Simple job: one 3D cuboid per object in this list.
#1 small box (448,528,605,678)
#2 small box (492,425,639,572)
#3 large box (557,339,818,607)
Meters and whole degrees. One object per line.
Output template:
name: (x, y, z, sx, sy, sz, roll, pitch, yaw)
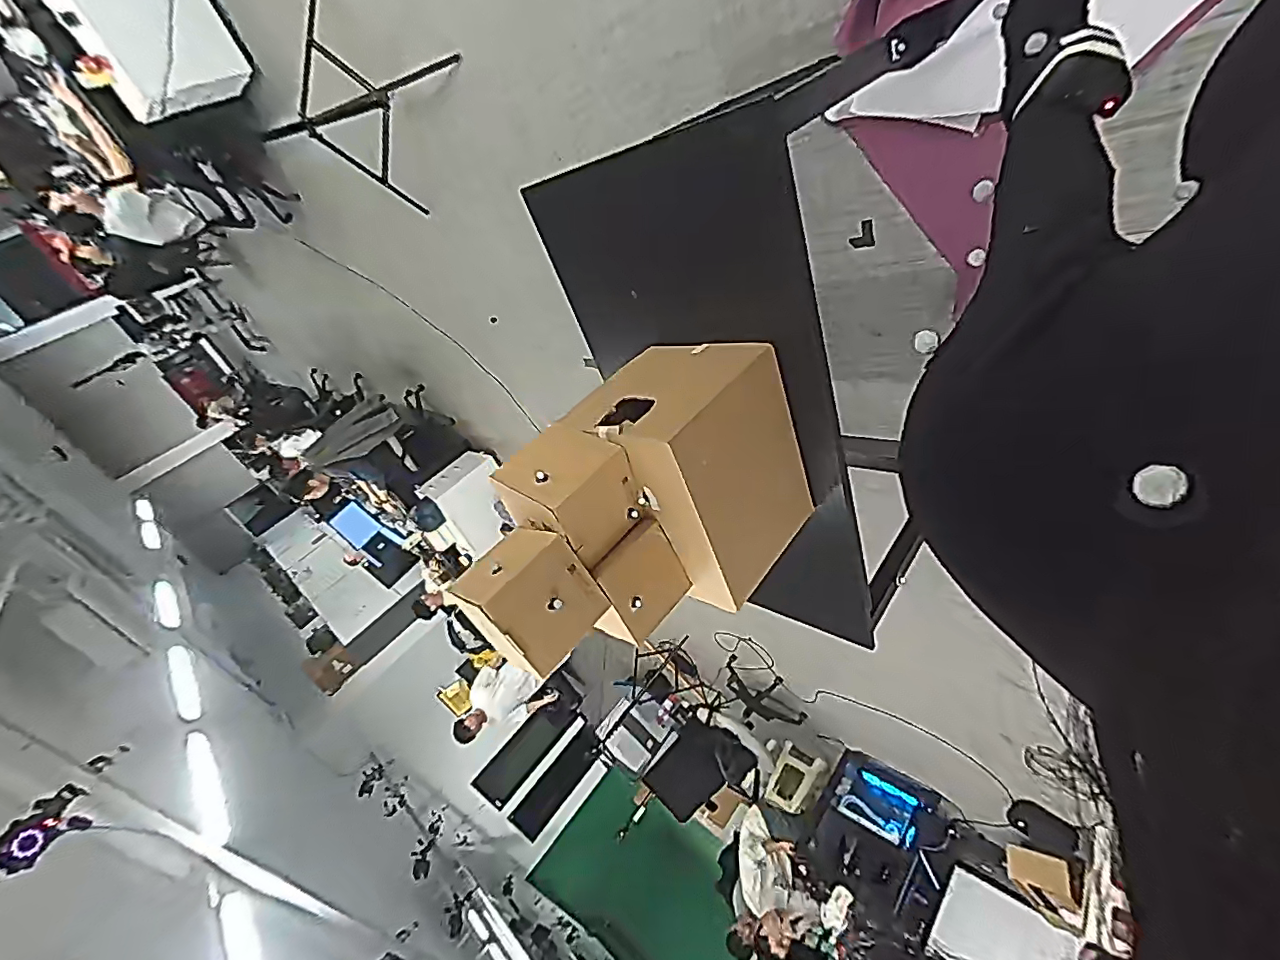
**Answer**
small box: (-0.184, 0.197, 0.914, 0.179, 0.176, 0.168, -3, 125, 53)
small box: (-0.119, 0.026, 0.951, 0.179, 0.176, 0.168, 23, 145, 38)
large box: (0.112, -0.027, 1.088, 0.320, 0.320, 0.408, 11, 135, 46)
